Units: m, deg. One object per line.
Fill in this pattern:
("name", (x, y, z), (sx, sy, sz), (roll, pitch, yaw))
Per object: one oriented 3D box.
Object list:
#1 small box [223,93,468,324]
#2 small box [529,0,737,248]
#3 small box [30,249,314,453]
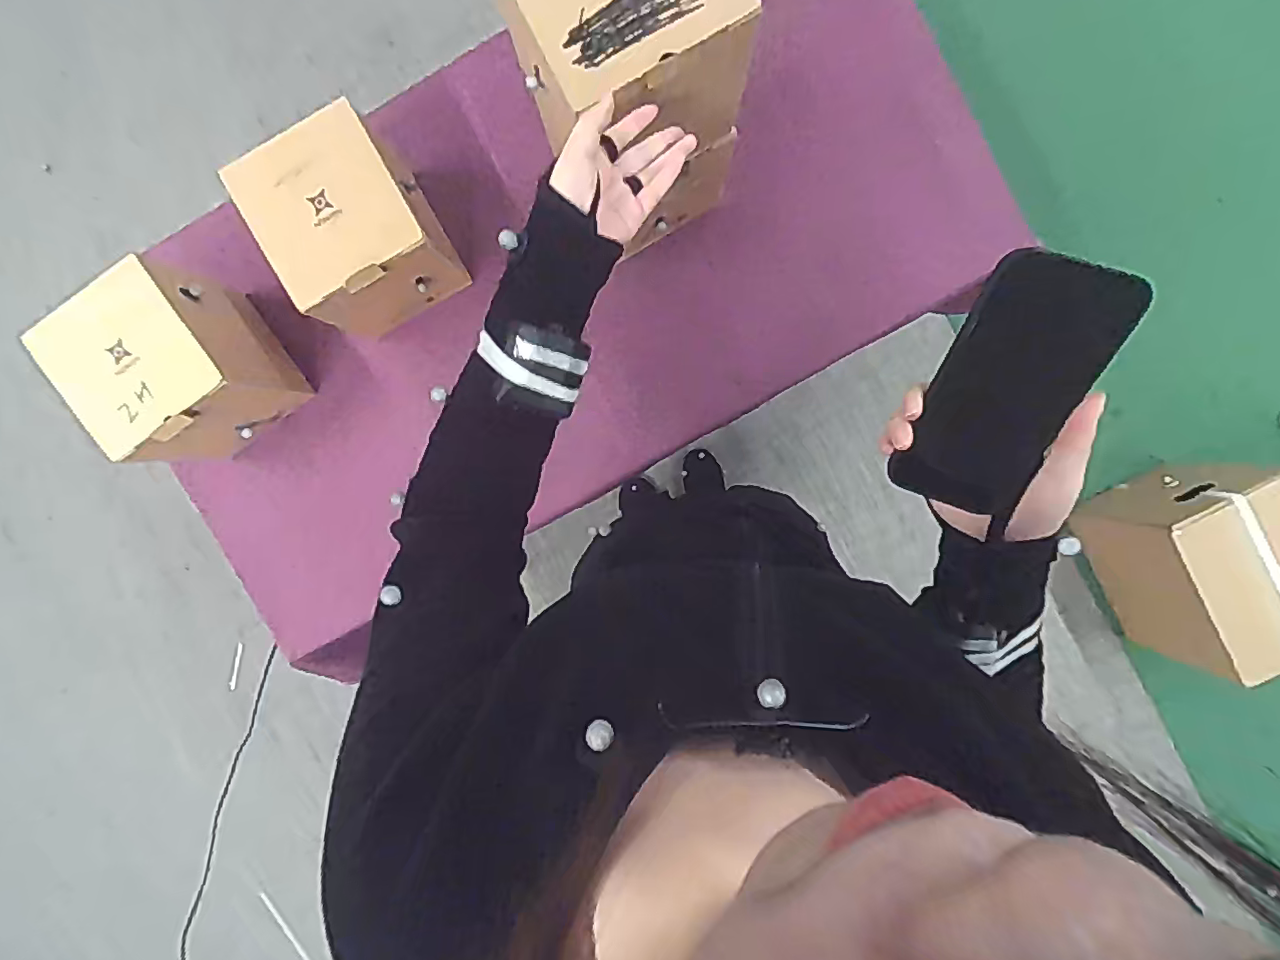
("small box", (-0.343, -0.311, 0.669), (0.168, 0.176, 0.179), (-29, 93, 2))
("small box", (-0.007, -0.418, 0.651), (0.168, 0.176, 0.179), (-30, 94, 4))
("small box", (-0.572, -0.148, 0.687), (0.168, 0.176, 0.179), (-34, 93, 4))
